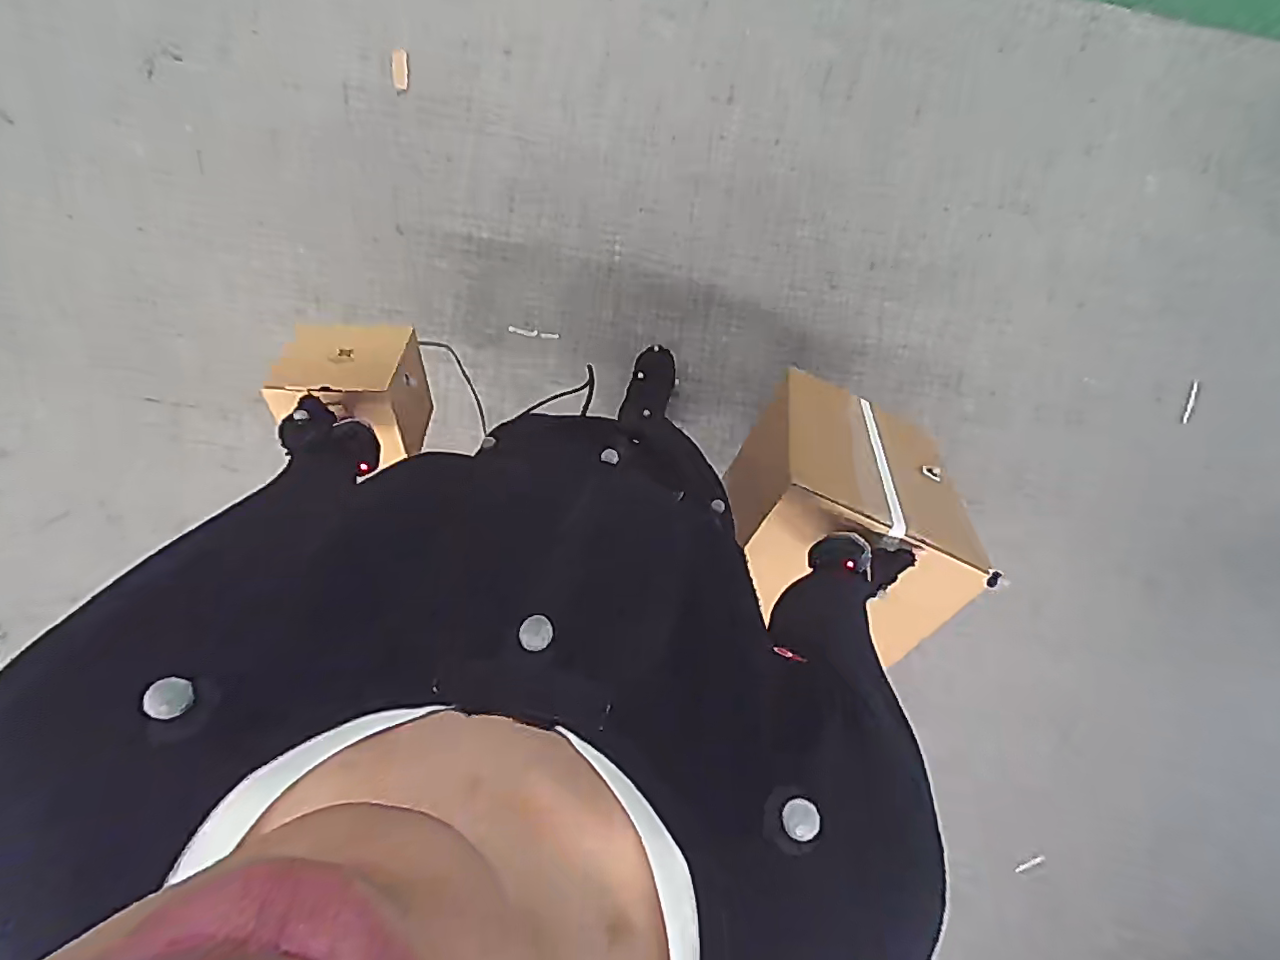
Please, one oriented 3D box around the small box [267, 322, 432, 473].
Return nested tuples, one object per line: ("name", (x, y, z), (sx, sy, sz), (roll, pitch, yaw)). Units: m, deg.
("small box", (-0.440, -0.130, 0.856), (0.168, 0.179, 0.176), (-1, 136, -6))
